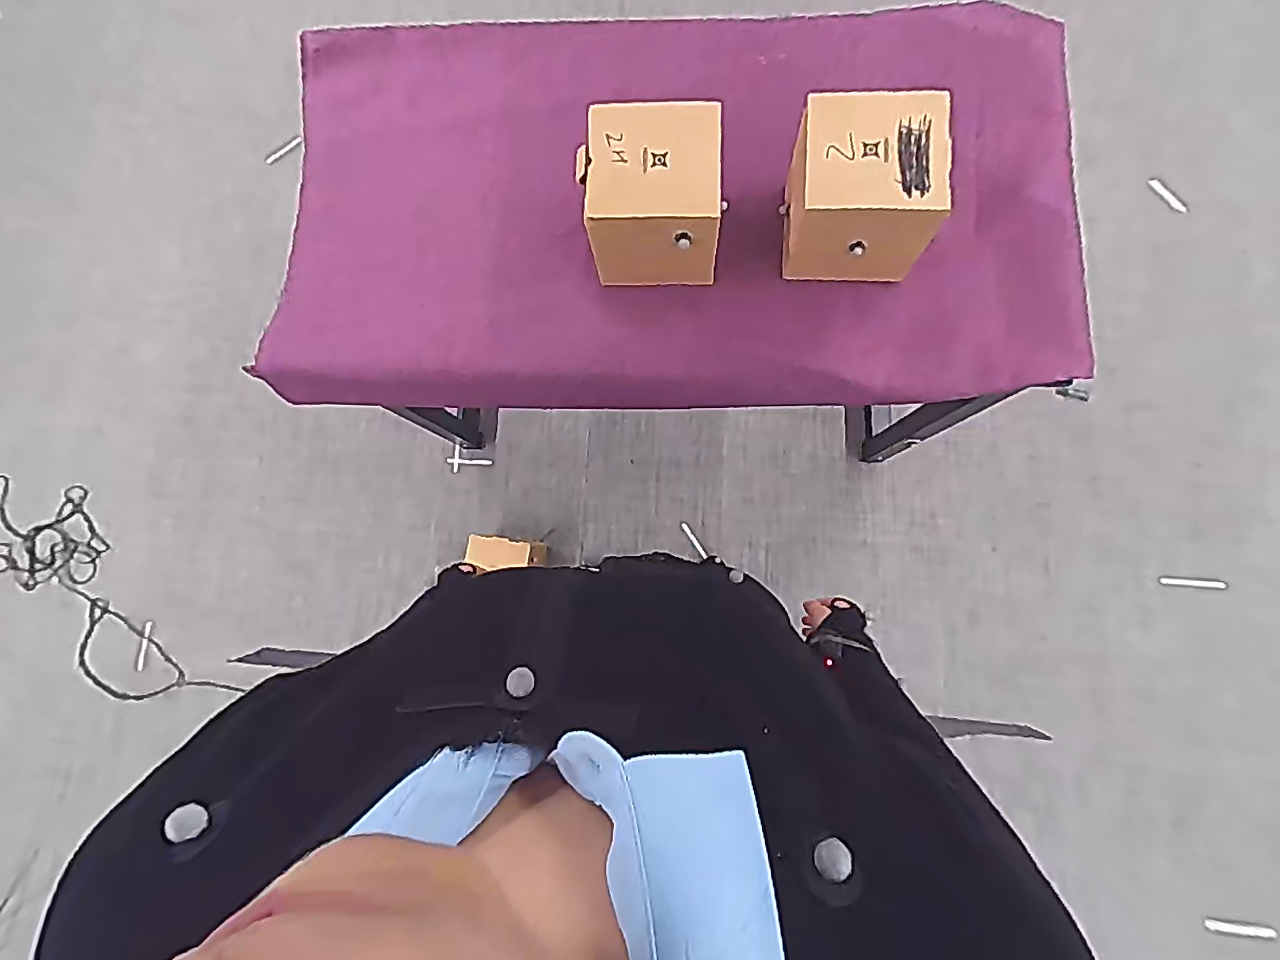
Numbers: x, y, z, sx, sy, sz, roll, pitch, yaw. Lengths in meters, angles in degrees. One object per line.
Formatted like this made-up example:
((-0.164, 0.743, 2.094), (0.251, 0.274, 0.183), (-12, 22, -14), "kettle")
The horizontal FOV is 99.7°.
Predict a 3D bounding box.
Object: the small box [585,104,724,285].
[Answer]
((0.025, -0.395, 0.771), (0.179, 0.176, 0.168), (1, 81, 5), "small box")

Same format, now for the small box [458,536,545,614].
((-0.361, 0.250, 1.446), (0.168, 0.176, 0.179), (8, 82, 5), "small box")
